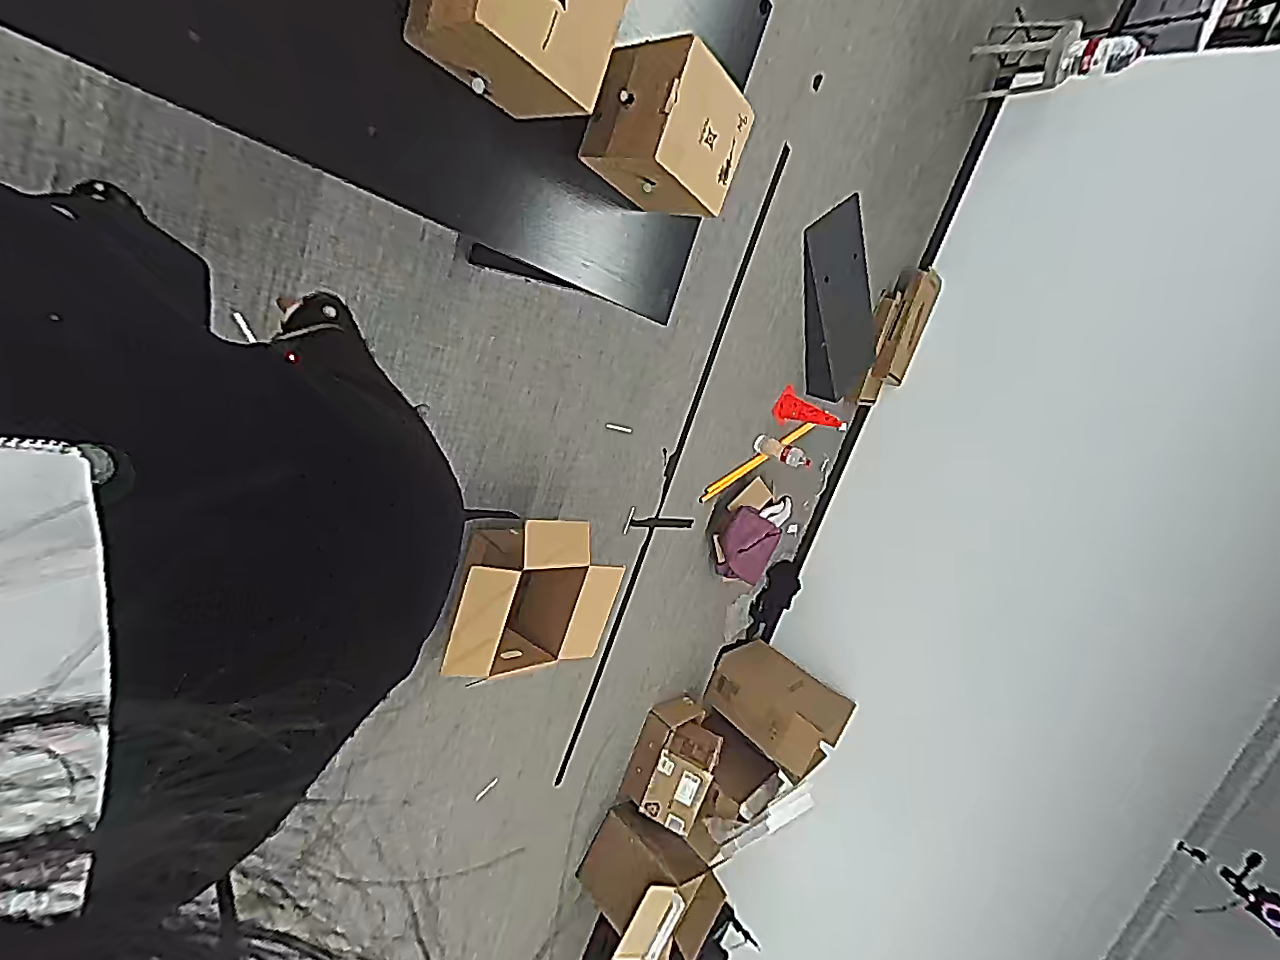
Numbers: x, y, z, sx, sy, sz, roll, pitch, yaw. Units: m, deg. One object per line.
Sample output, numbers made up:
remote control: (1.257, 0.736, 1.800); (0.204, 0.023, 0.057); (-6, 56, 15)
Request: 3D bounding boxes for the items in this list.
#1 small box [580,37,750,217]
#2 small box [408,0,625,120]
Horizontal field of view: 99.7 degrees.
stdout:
small box: (0.035, -0.533, 0.844); (0.179, 0.176, 0.168); (10, 104, -50)
small box: (-0.143, -0.554, 0.627); (0.168, 0.176, 0.179); (6, 108, -50)
